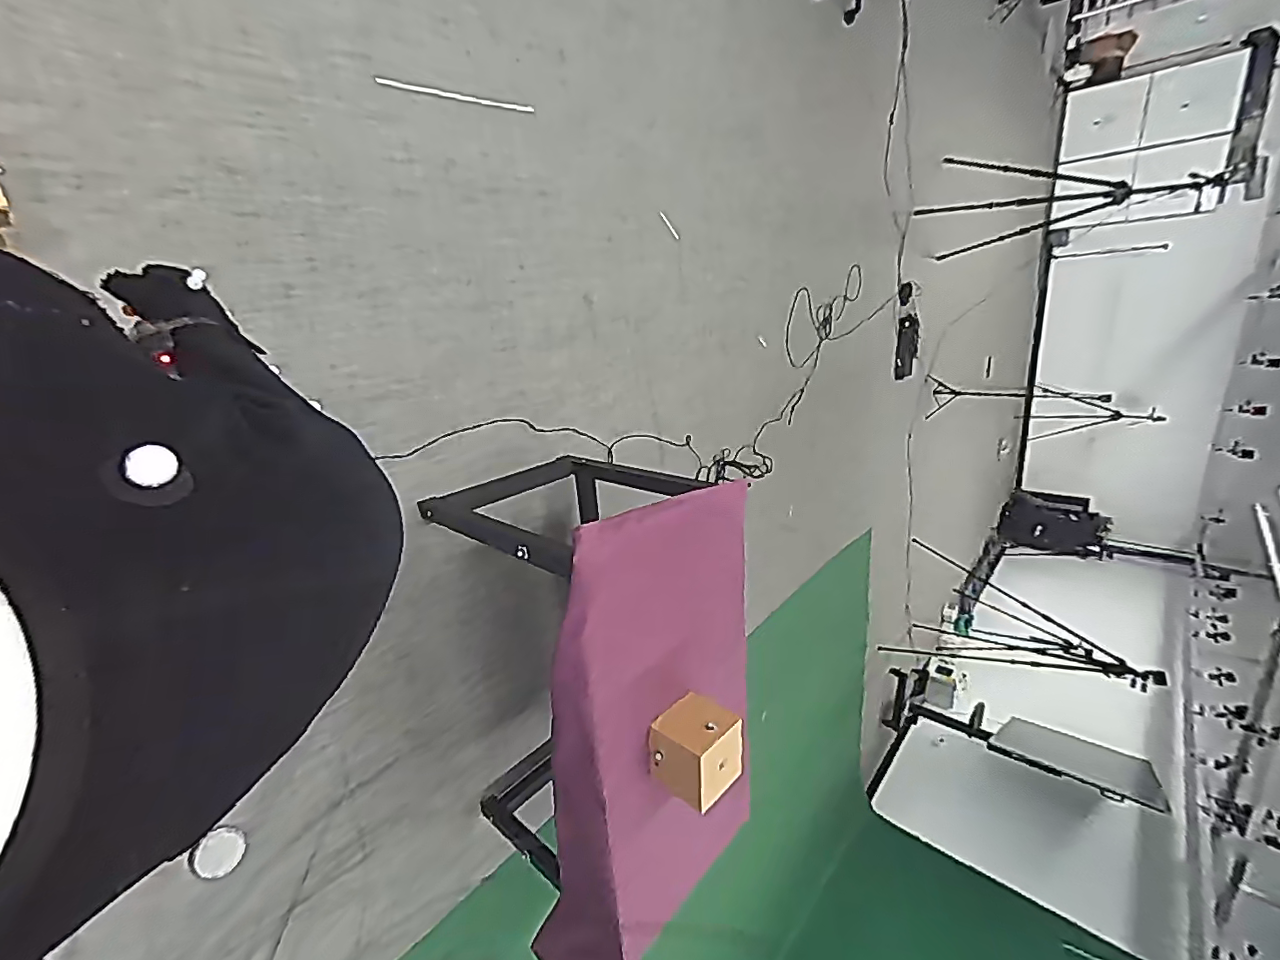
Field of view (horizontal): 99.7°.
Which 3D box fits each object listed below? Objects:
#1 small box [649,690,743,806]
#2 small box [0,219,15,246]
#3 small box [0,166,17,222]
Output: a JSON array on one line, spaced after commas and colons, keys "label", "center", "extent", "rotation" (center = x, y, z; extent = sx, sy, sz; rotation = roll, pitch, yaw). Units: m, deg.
[{"label": "small box", "center": [0.142, 0.667, 1.375], "extent": [0.179, 0.176, 0.168], "rotation": [-16, 110, -44]}, {"label": "small box", "center": [-1.107, -0.460, 0.820], "extent": [0.168, 0.176, 0.179], "rotation": [-25, 117, -41]}, {"label": "small box", "center": [-0.985, -0.440, 0.714], "extent": [0.179, 0.176, 0.168], "rotation": [-27, 119, -42]}]
